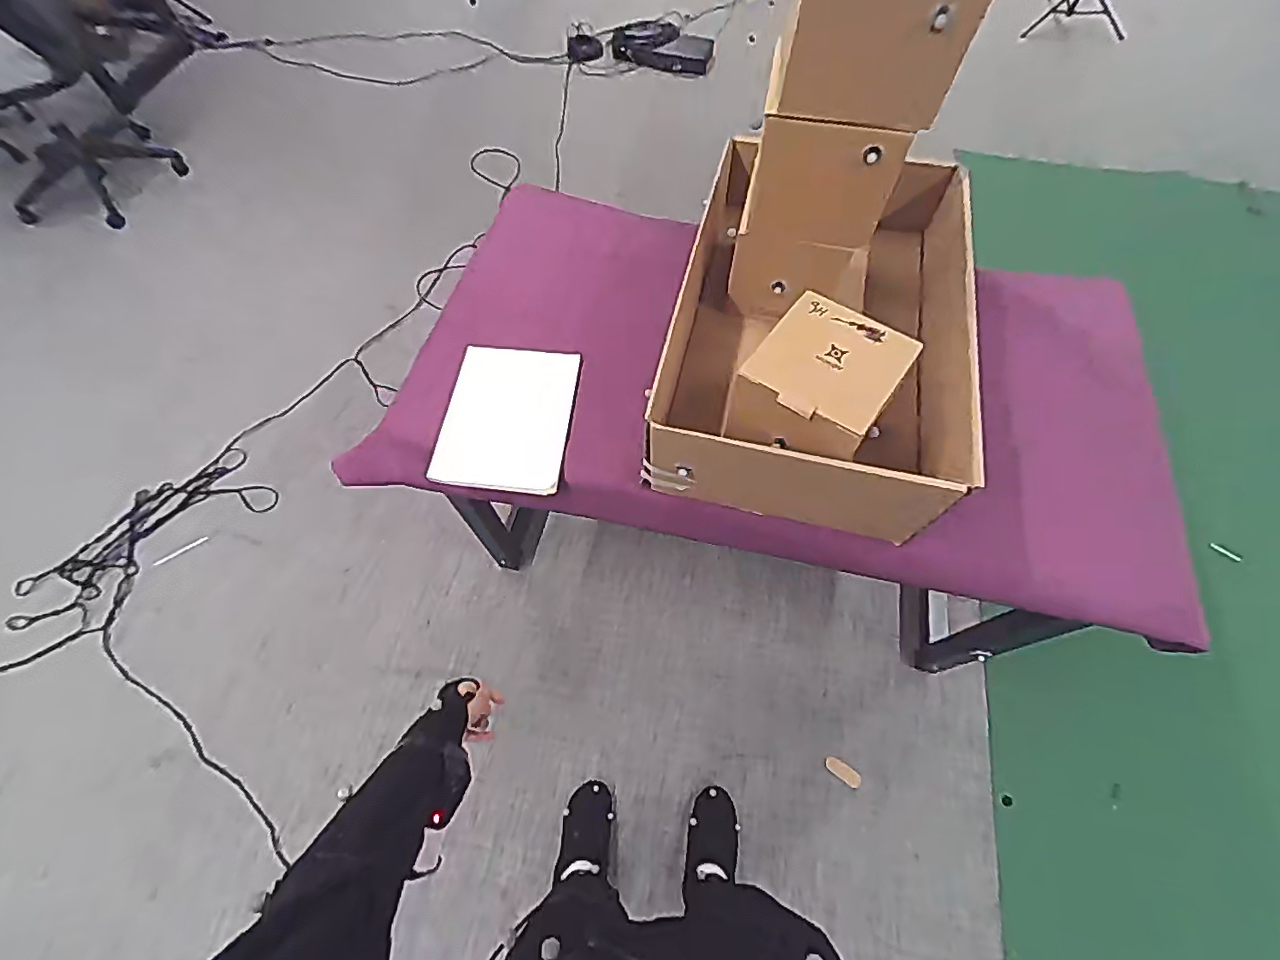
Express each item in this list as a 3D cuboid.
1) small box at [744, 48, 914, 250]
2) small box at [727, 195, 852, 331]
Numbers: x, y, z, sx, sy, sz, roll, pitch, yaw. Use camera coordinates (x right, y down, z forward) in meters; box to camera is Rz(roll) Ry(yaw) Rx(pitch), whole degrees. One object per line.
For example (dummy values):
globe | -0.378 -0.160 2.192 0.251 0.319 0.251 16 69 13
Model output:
small box | 0.243 -0.435 0.726 0.179 0.176 0.168 10 64 5
small box | 0.241 -0.367 0.872 0.168 0.176 0.179 12 65 7
